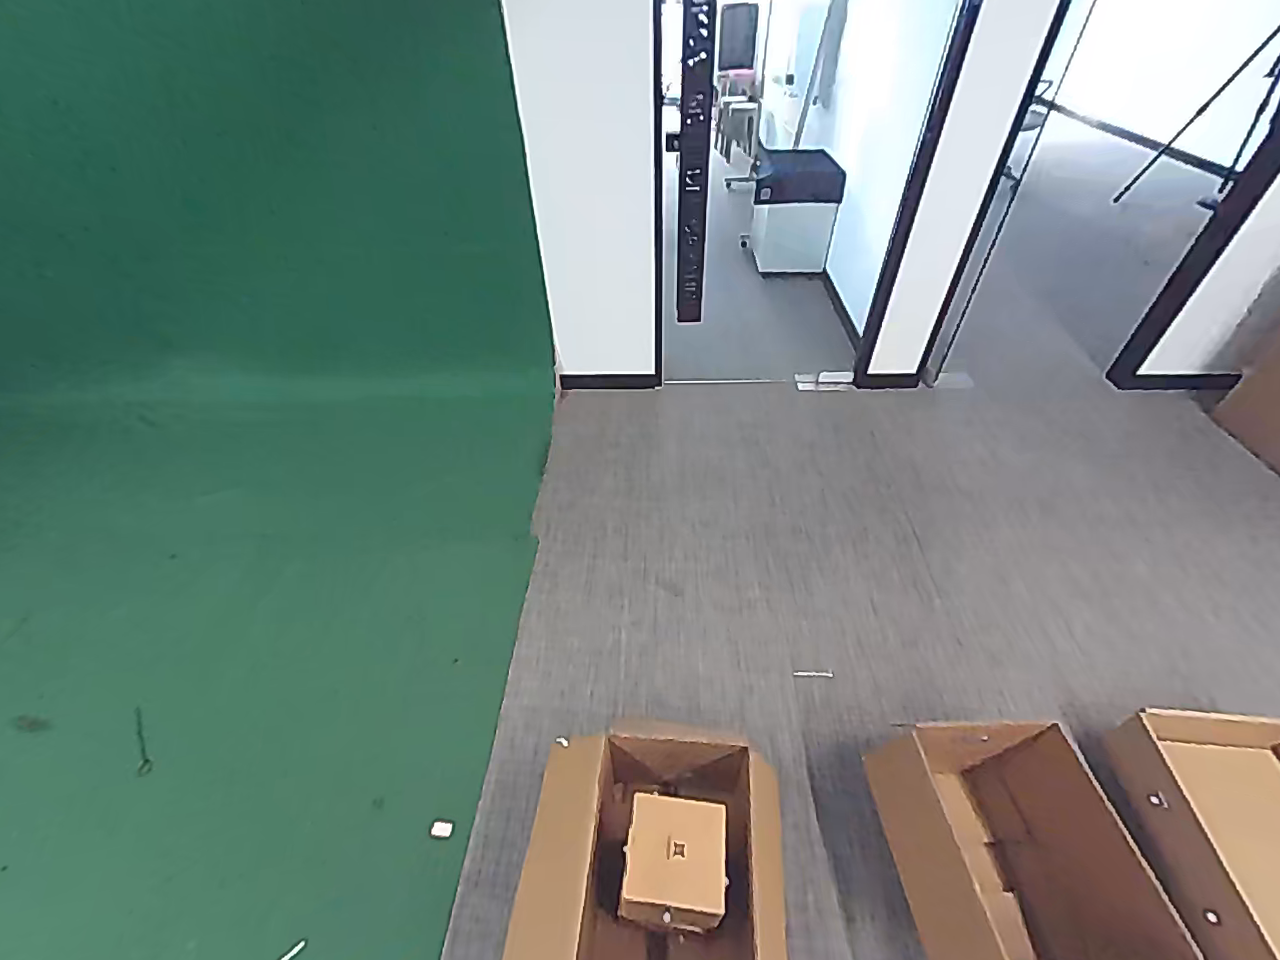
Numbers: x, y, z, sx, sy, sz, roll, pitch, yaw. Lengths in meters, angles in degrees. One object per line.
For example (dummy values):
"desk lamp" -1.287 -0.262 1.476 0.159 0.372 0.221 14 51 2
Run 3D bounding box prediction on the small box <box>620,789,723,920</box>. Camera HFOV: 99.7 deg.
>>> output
"small box" 0.061 0.713 1.026 0.179 0.176 0.168 5 44 5
